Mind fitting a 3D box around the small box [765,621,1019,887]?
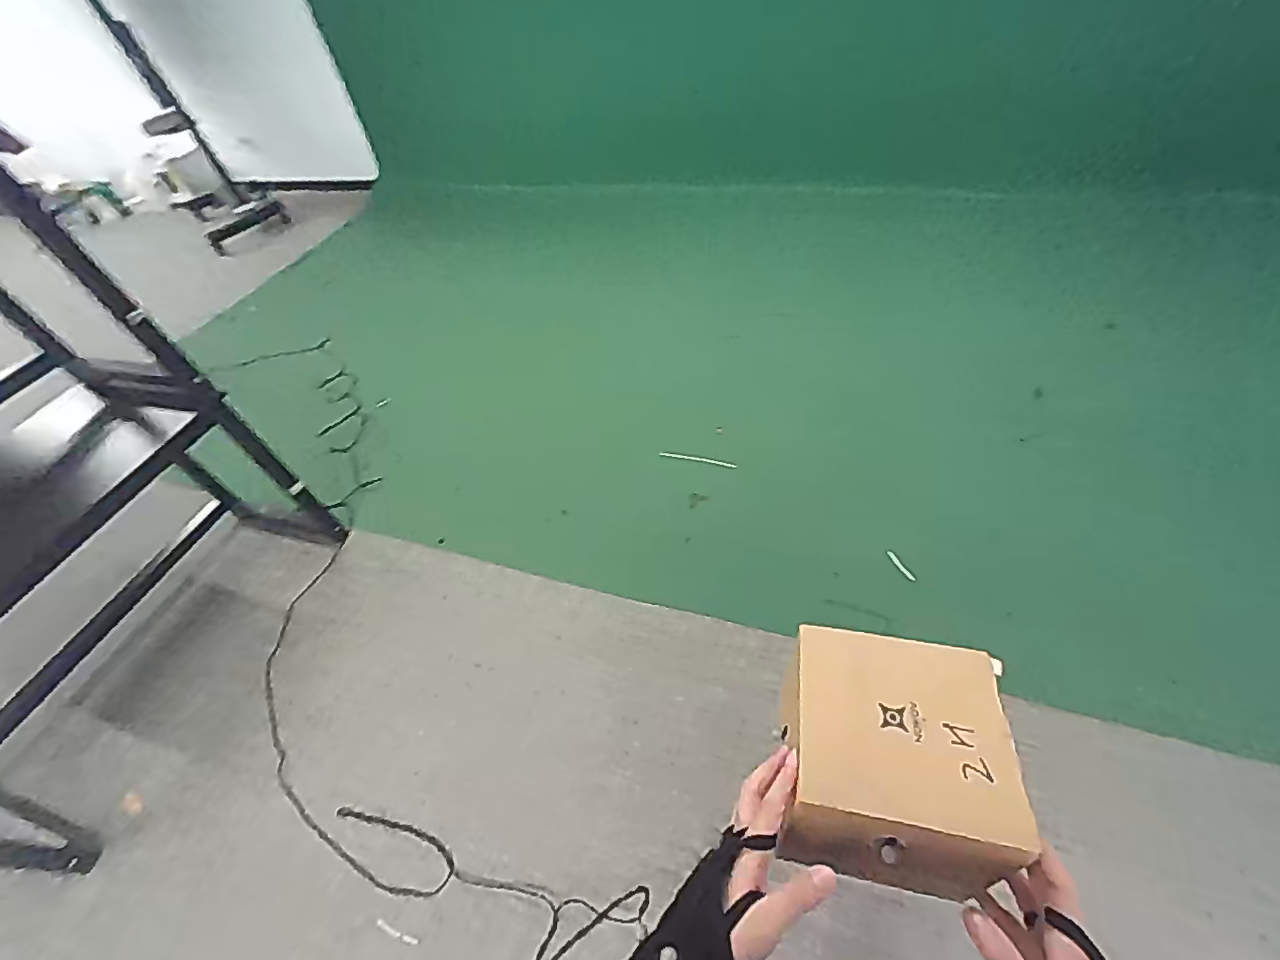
[{"bbox_3d":[0.220,0.265,0.527,0.179,0.176,0.168,7,43,11],"label":"small box"}]
